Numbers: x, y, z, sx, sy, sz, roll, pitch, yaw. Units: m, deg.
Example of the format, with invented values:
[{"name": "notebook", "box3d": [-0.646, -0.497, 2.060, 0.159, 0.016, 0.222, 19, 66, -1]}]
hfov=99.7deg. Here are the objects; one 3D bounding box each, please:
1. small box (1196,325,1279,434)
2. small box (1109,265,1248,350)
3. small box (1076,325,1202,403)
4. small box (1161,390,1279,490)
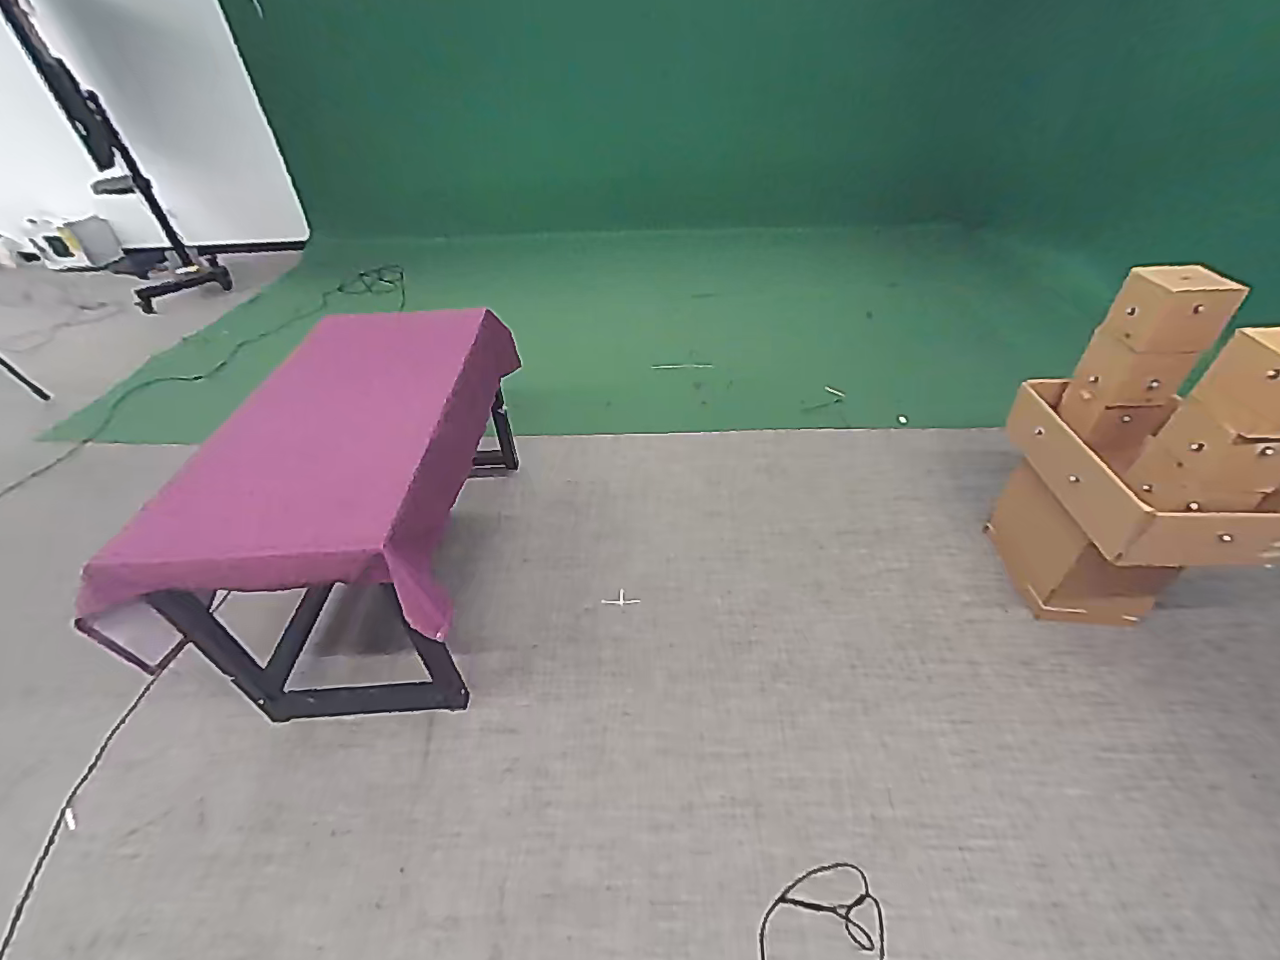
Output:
[{"name": "small box", "box3d": [1.363, -0.213, 1.145, 0.168, 0.176, 0.179, 0, 43, 5]}, {"name": "small box", "box3d": [1.394, -0.453, 1.422, 0.179, 0.176, 0.168, 0, 40, 4]}, {"name": "small box", "box3d": [1.400, -0.329, 1.532, 0.168, 0.176, 0.179, -1, 41, 3]}, {"name": "small box", "box3d": [1.374, -0.092, 1.252, 0.179, 0.176, 0.168, 4, 42, 8]}]
